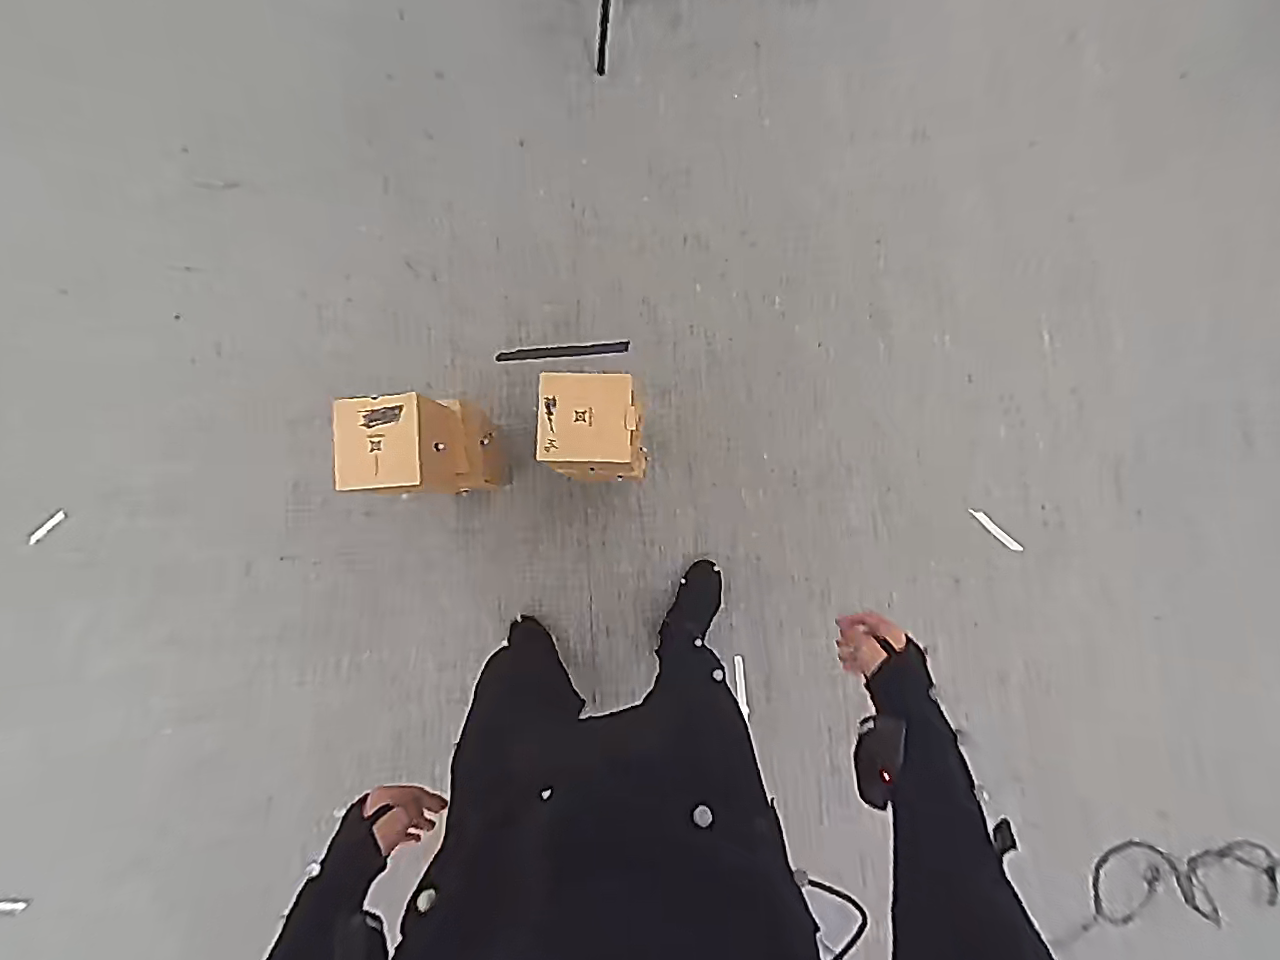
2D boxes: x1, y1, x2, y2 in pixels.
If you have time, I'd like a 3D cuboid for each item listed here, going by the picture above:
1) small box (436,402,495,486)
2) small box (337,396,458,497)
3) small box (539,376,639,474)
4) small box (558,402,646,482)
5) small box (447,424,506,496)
[{"bbox_3d":[-0.453,-0.073,1.243,0.179,0.176,0.168,-8,85,3],"label":"small box"},{"bbox_3d":[-0.476,-0.060,1.079,0.168,0.176,0.179,-4,86,4],"label":"small box"},{"bbox_3d":[-0.093,-0.101,1.064,0.179,0.176,0.168,2,85,2],"label":"small box"},{"bbox_3d":[-0.080,-0.083,1.227,0.179,0.176,0.168,2,86,3],"label":"small box"},{"bbox_3d":[-0.457,-0.056,1.407,0.168,0.176,0.179,-7,86,3],"label":"small box"}]
